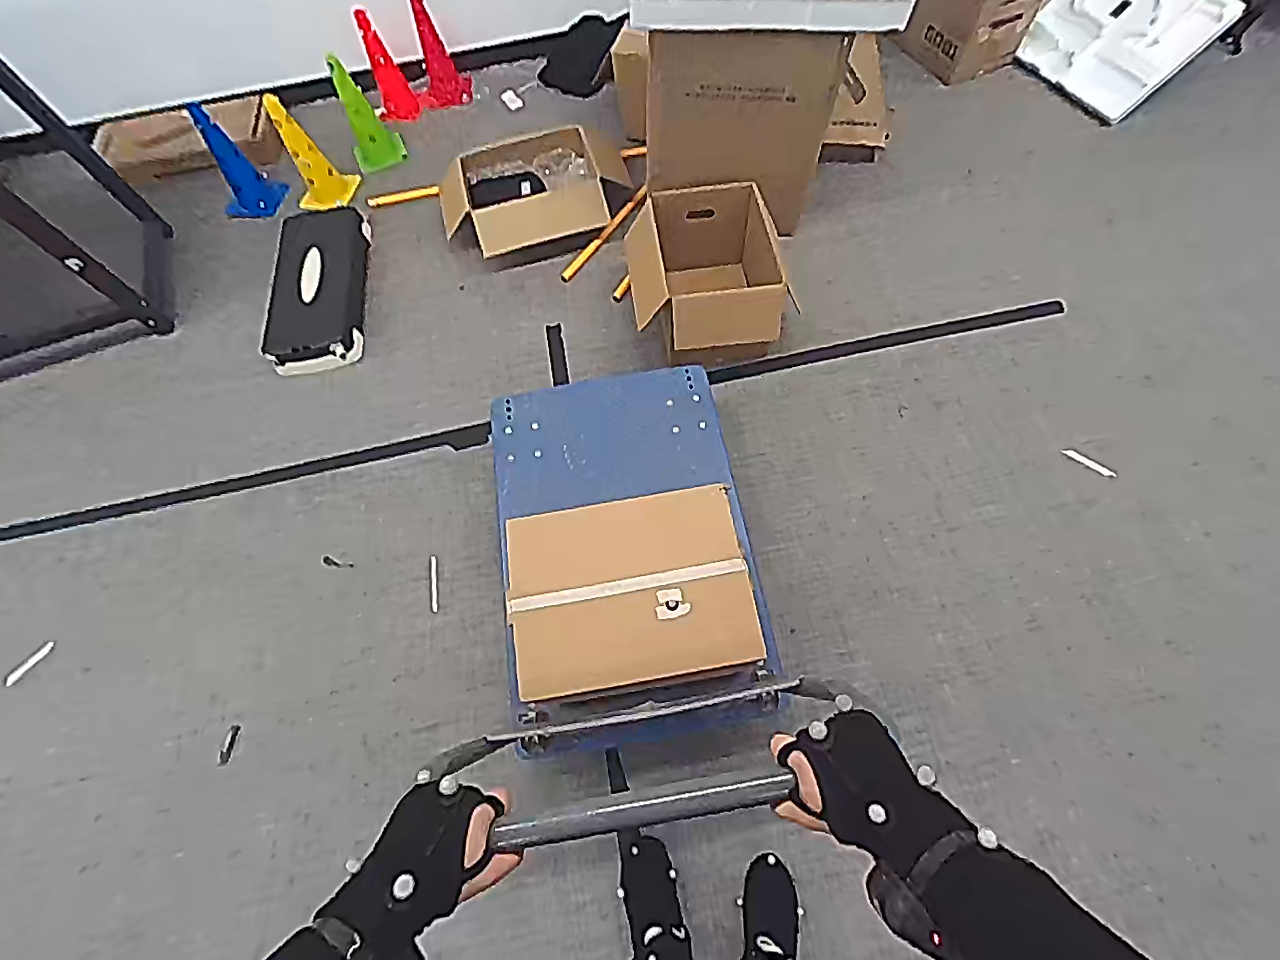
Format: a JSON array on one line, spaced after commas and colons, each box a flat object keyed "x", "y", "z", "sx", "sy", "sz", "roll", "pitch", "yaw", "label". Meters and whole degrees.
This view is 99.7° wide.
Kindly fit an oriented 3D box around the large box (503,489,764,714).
[{"x": -0.019, "y": 0.248, "z": 1.045, "sx": 0.408, "sy": 0.320, "sz": 0.320, "roll": -10, "pitch": 68, "yaw": -2, "label": "large box"}]
